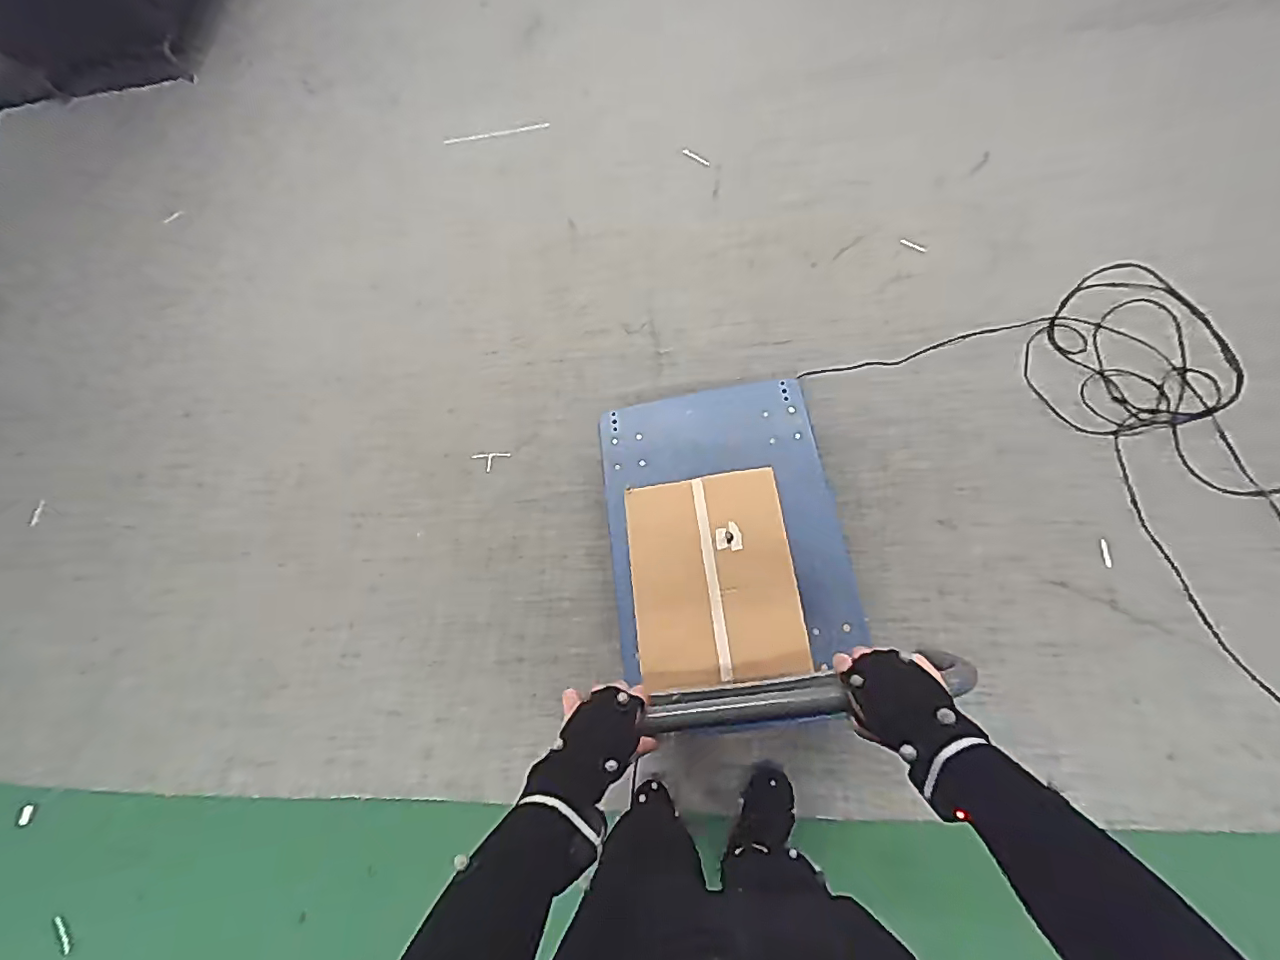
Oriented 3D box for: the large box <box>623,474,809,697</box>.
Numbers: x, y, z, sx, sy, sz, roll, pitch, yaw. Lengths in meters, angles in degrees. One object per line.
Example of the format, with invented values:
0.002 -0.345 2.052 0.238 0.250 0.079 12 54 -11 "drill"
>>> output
0.163 0.249 1.204 0.320 0.320 0.408 -9 66 7 "large box"
